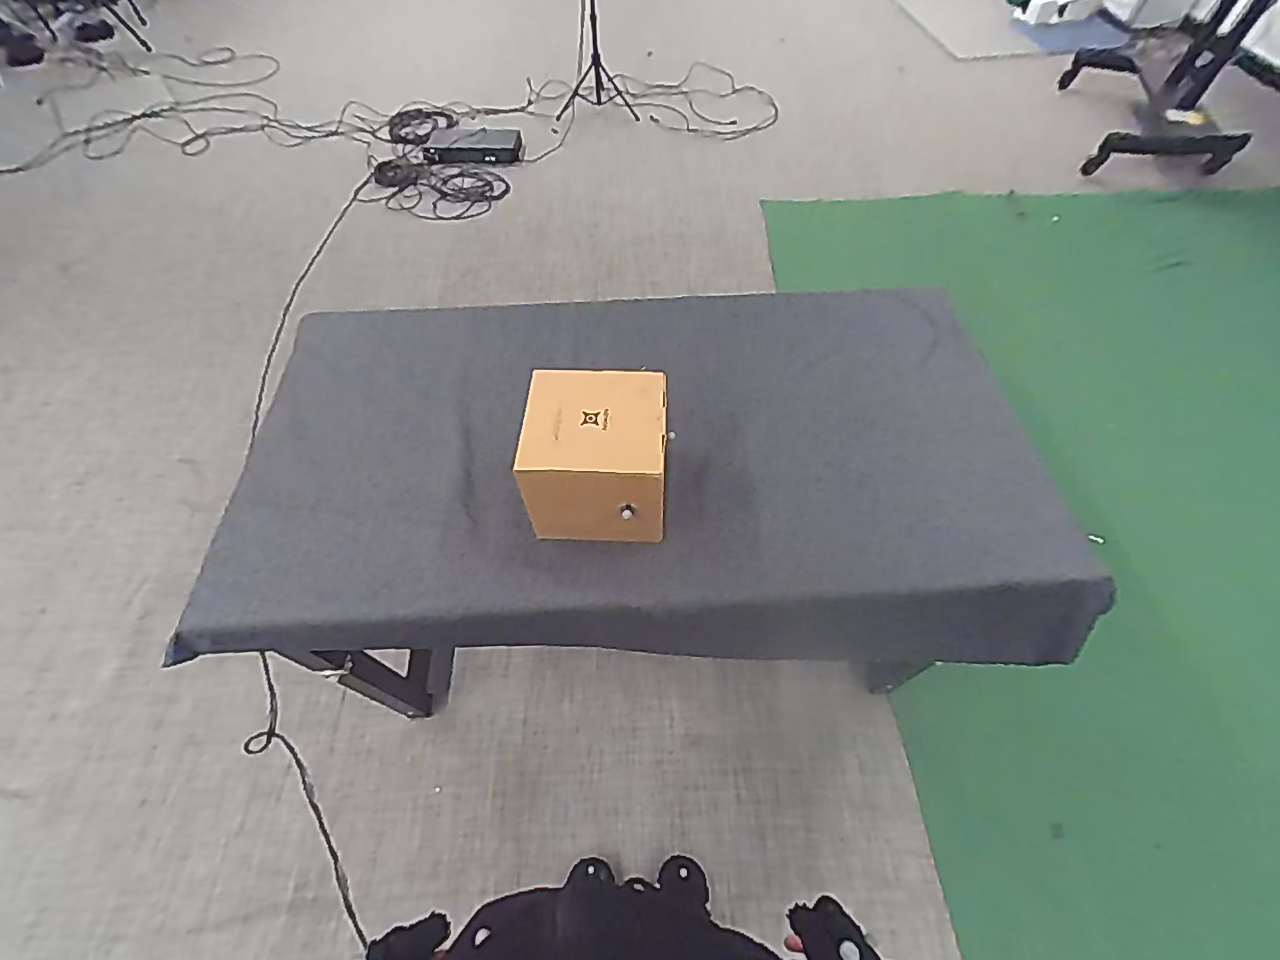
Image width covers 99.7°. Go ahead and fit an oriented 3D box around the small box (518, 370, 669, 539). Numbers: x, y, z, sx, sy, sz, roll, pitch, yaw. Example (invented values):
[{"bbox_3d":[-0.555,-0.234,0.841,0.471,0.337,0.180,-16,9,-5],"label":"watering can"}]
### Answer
[{"bbox_3d":[-0.050,-0.030,0.735,0.179,0.176,0.168,0,55,3],"label":"small box"}]
